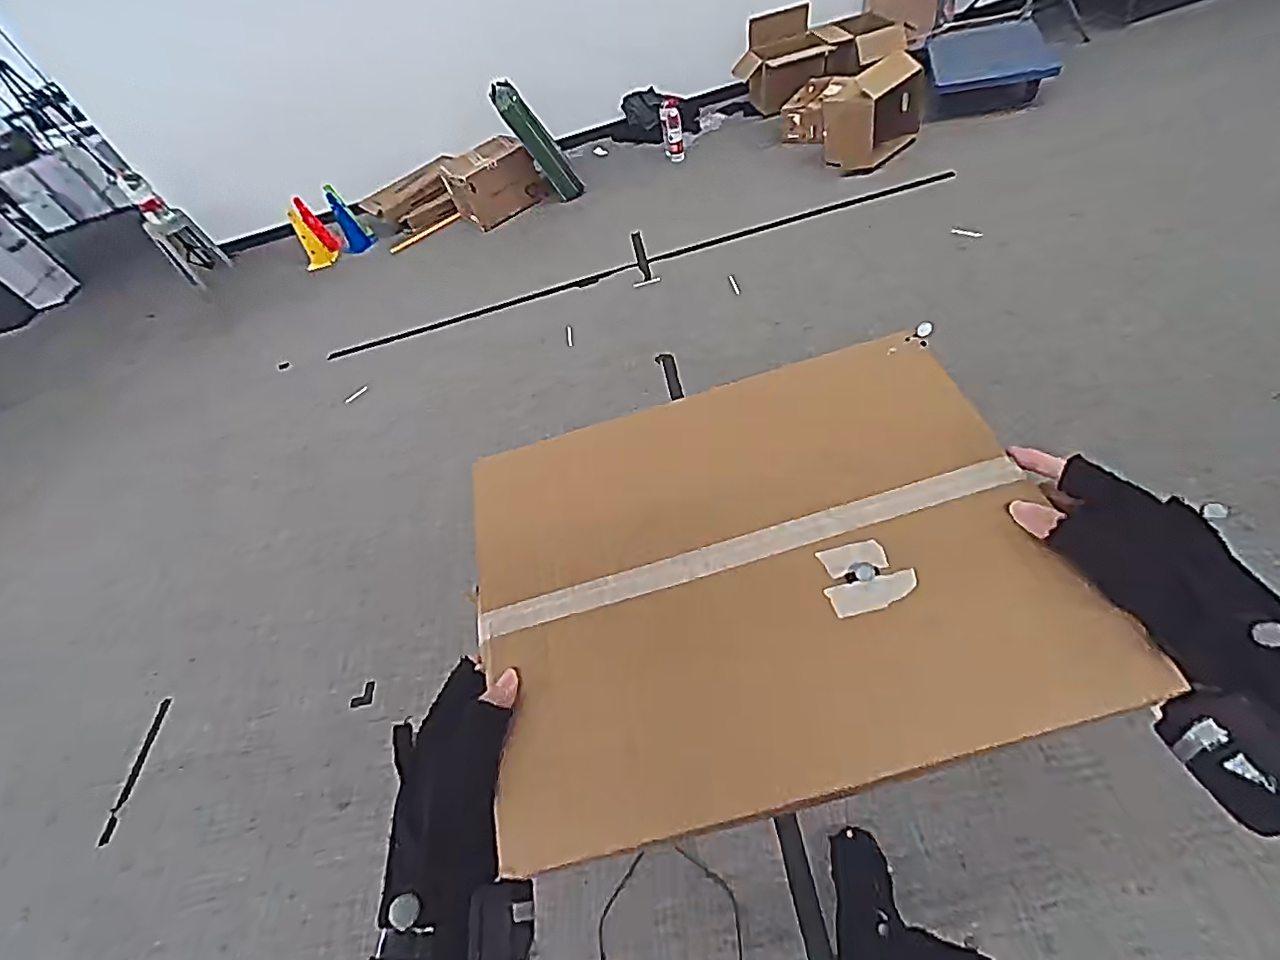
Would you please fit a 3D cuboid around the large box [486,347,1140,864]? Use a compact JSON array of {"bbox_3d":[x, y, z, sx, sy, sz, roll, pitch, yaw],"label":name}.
[{"bbox_3d":[0.107,0.136,0.534,0.408,0.320,0.320,-17,56,1],"label":"large box"}]
